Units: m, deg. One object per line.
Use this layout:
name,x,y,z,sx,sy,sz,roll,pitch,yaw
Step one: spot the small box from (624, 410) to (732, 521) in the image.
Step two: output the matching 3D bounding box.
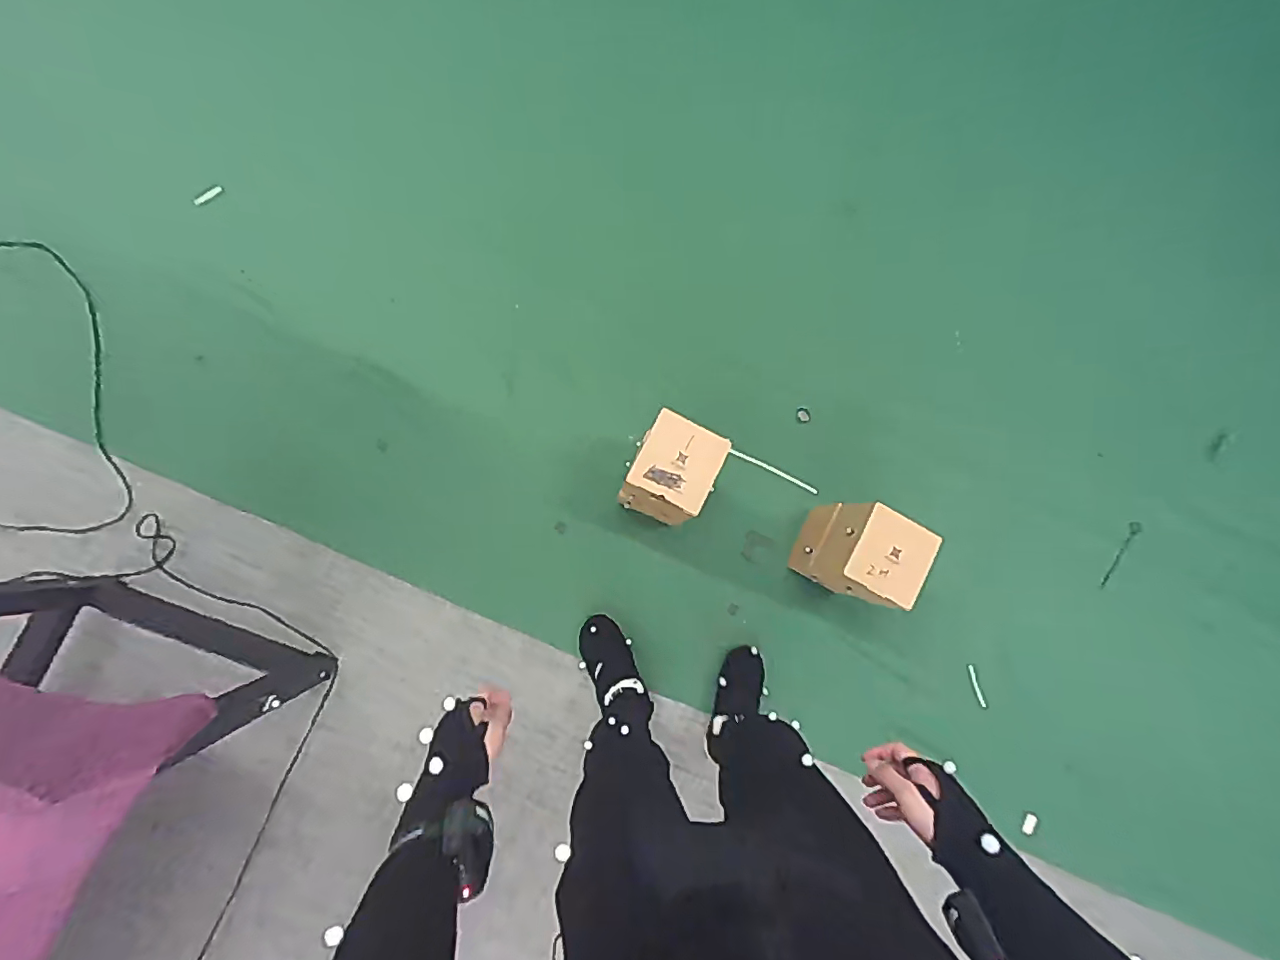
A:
small box,0.074,-0.022,1.181,0.168,0.176,0.179,28,80,-2

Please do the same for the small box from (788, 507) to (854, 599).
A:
small box,0.501,0.184,1.368,0.168,0.176,0.179,28,83,-3

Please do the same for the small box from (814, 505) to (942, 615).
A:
small box,0.519,0.173,1.204,0.168,0.176,0.179,30,83,-2
